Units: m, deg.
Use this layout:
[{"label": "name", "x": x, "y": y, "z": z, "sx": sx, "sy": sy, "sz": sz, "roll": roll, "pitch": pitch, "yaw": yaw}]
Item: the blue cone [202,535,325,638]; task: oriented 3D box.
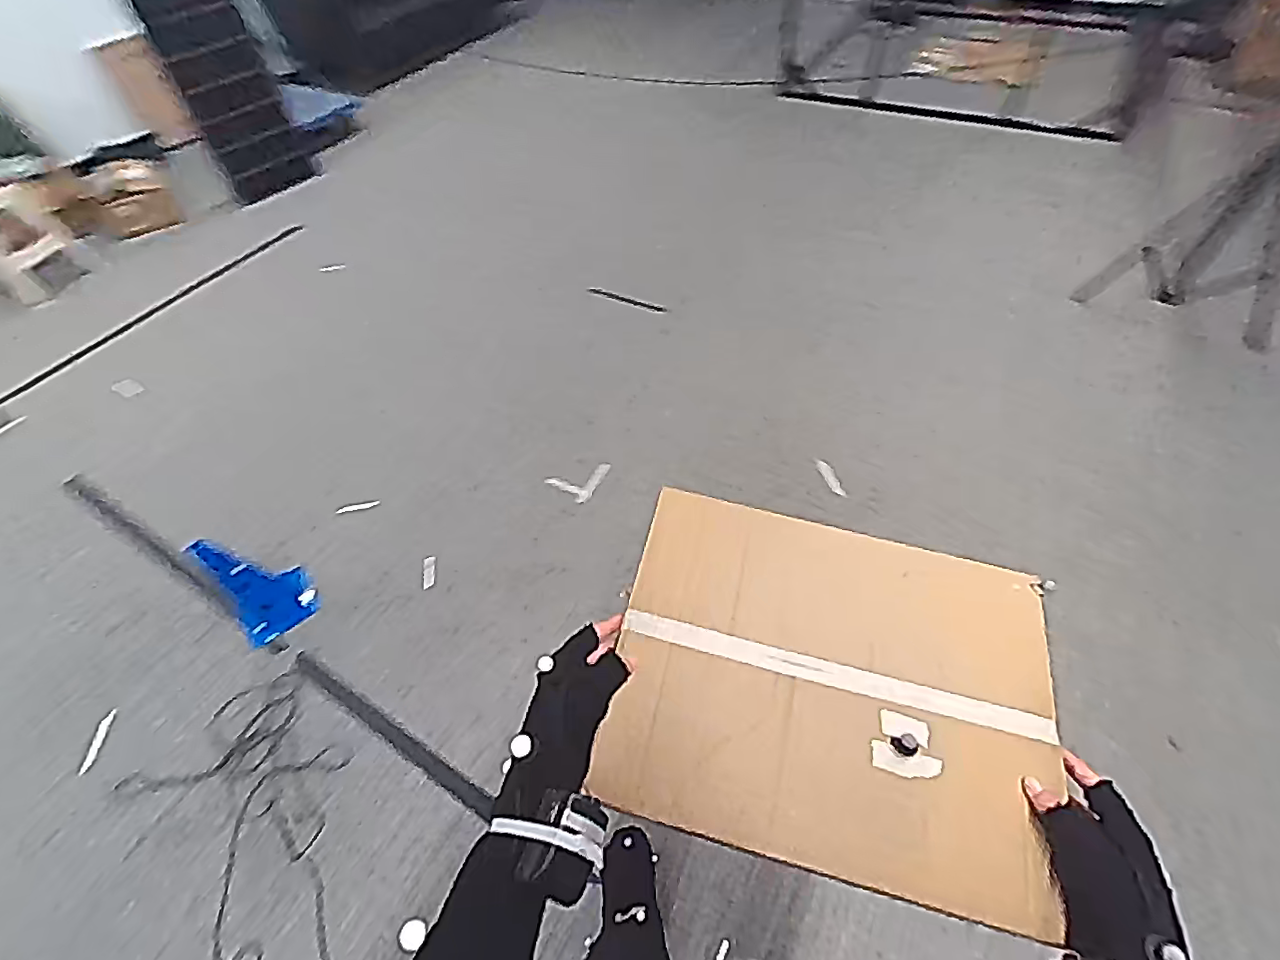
[{"label": "blue cone", "x": -1.087, "y": 0.273, "z": 1.526, "sx": 0.193, "sy": 0.380, "sz": 0.192, "roll": -34, "pitch": 57, "yaw": -20}]
